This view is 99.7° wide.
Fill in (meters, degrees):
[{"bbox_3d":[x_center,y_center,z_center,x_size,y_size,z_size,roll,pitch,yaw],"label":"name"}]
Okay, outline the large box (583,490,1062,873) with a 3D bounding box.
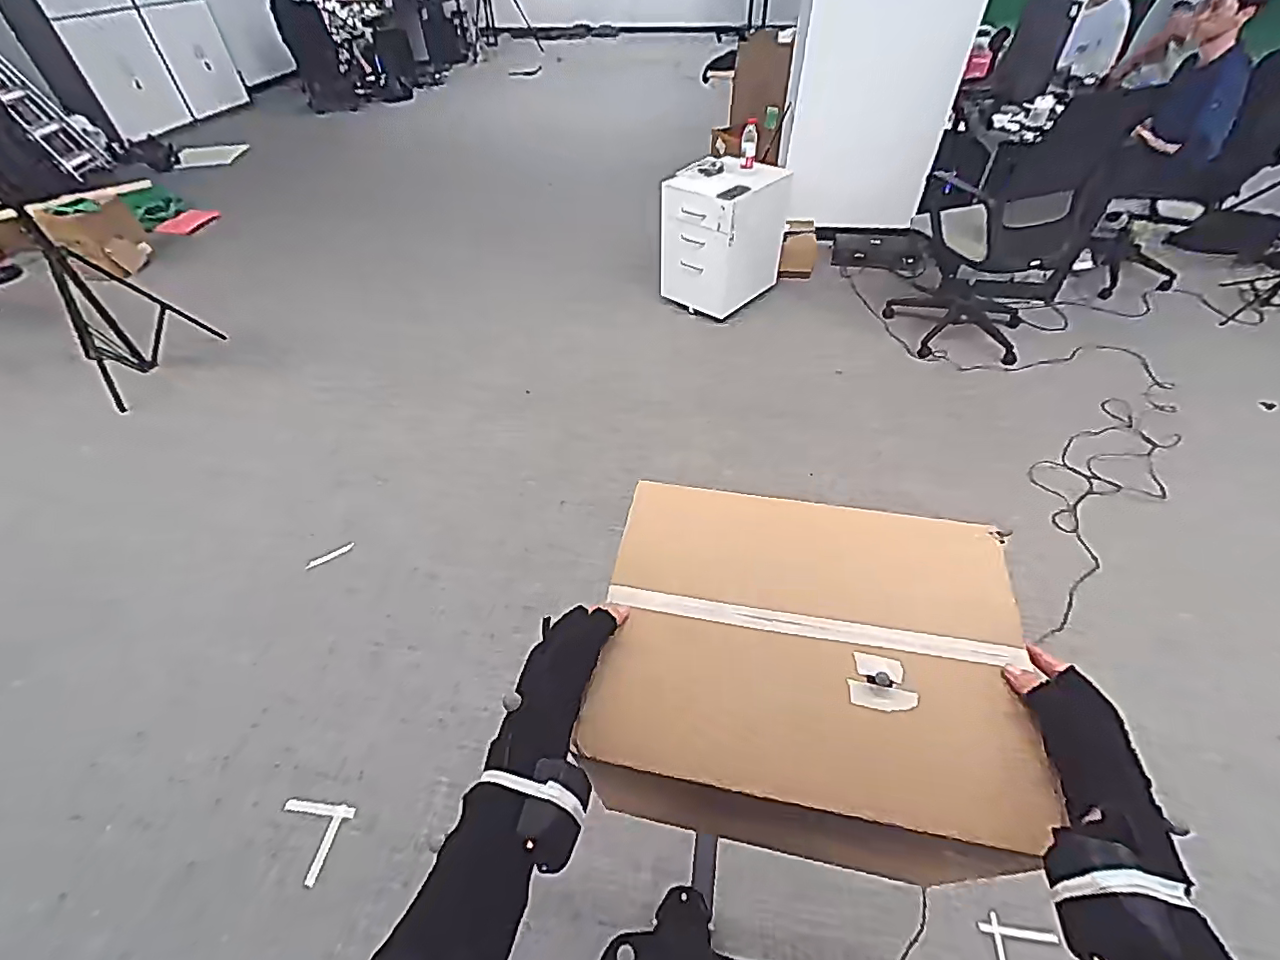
[{"bbox_3d":[0.173,0.244,0.660,0.408,0.320,0.320,8,53,9],"label":"large box"}]
